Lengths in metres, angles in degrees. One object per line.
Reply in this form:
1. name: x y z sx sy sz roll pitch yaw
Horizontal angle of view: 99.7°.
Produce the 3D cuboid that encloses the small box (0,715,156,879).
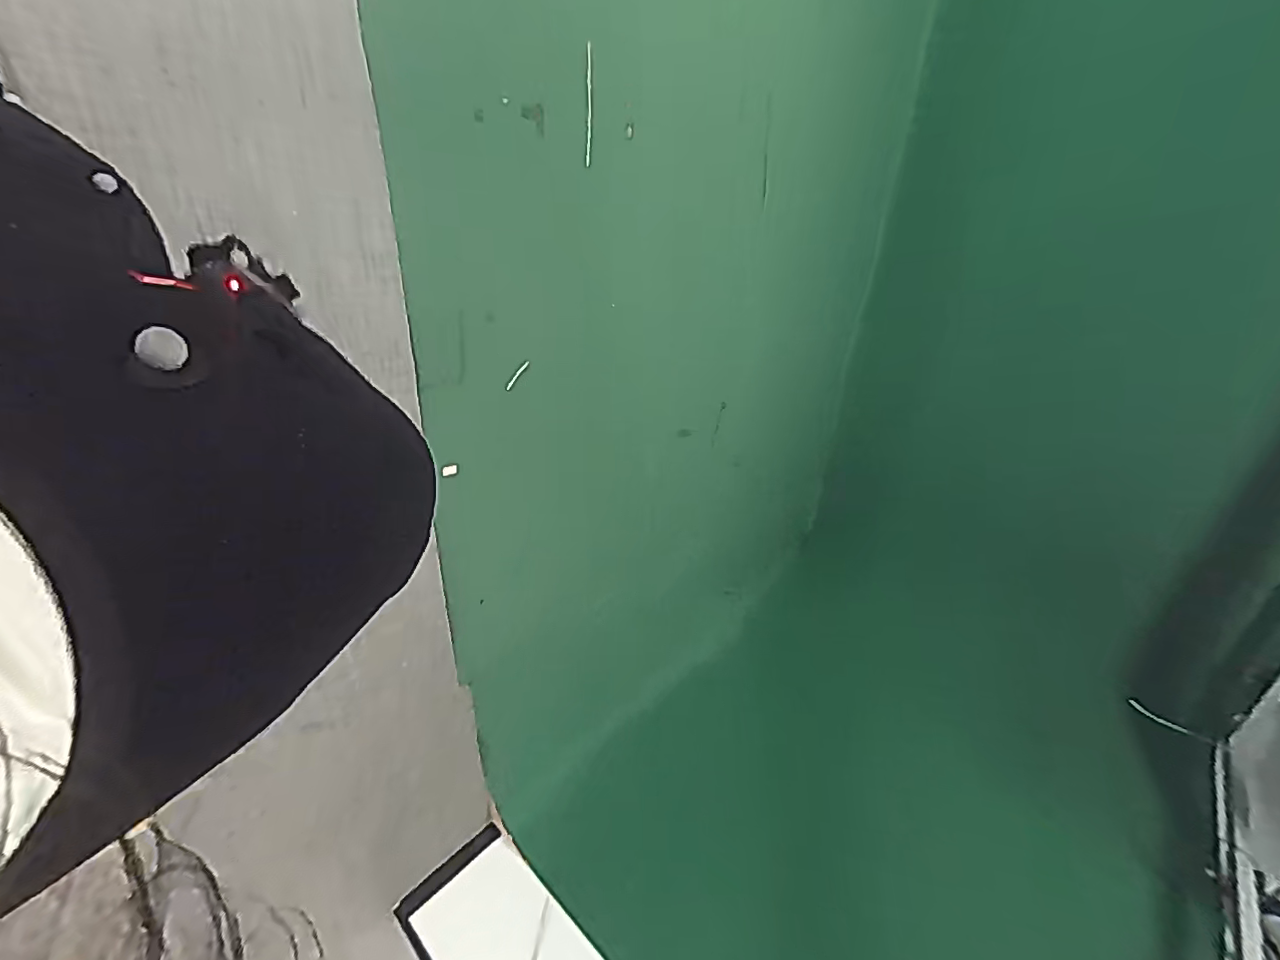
1. small box: -1.087 0.603 1.049 0.179 0.176 0.168 -20 125 -44
